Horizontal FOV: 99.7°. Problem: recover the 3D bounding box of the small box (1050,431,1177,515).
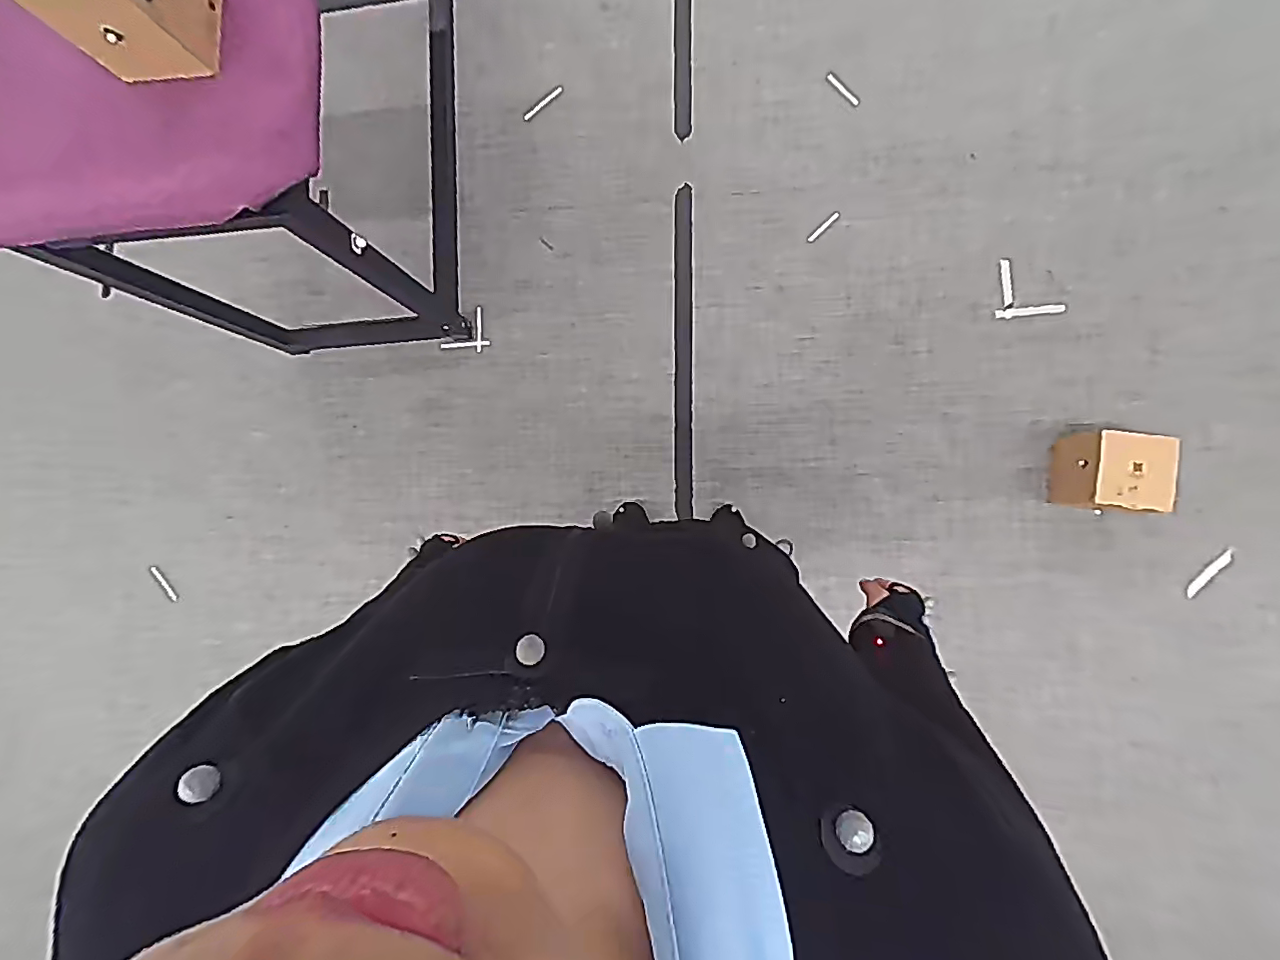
[{"bbox_3d":[1.142,-0.013,1.316,0.168,0.176,0.179,8,88,7],"label":"small box"}]
